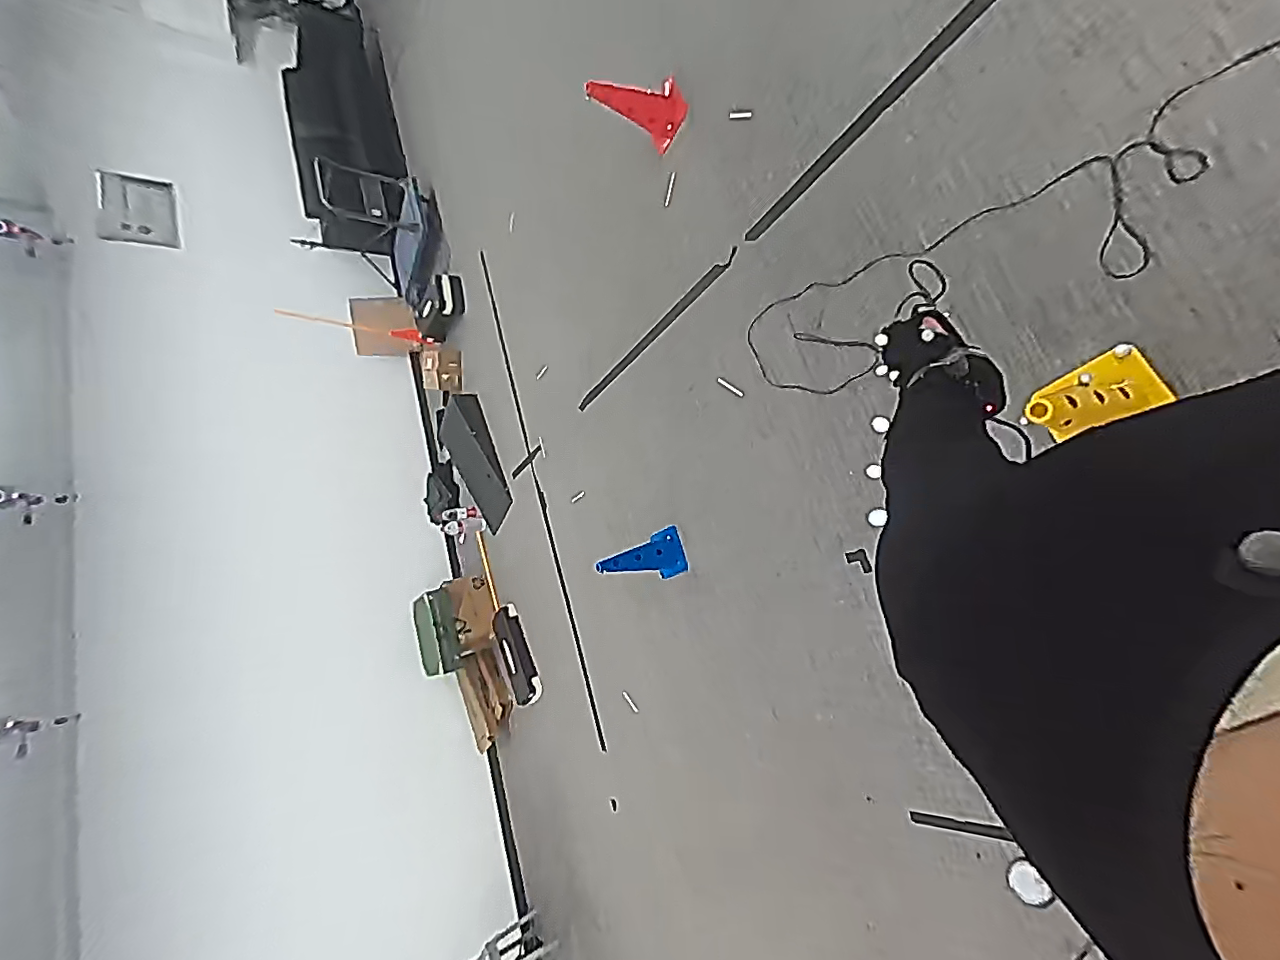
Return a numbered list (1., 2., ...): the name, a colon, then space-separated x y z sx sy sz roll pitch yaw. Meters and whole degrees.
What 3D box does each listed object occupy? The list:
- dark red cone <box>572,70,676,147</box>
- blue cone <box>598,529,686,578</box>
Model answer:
1. dark red cone: -0.072 -1.409 1.983 0.202 0.394 0.201 -45 61 48
2. blue cone: -0.010 0.333 2.224 0.193 0.380 0.192 -33 70 52
